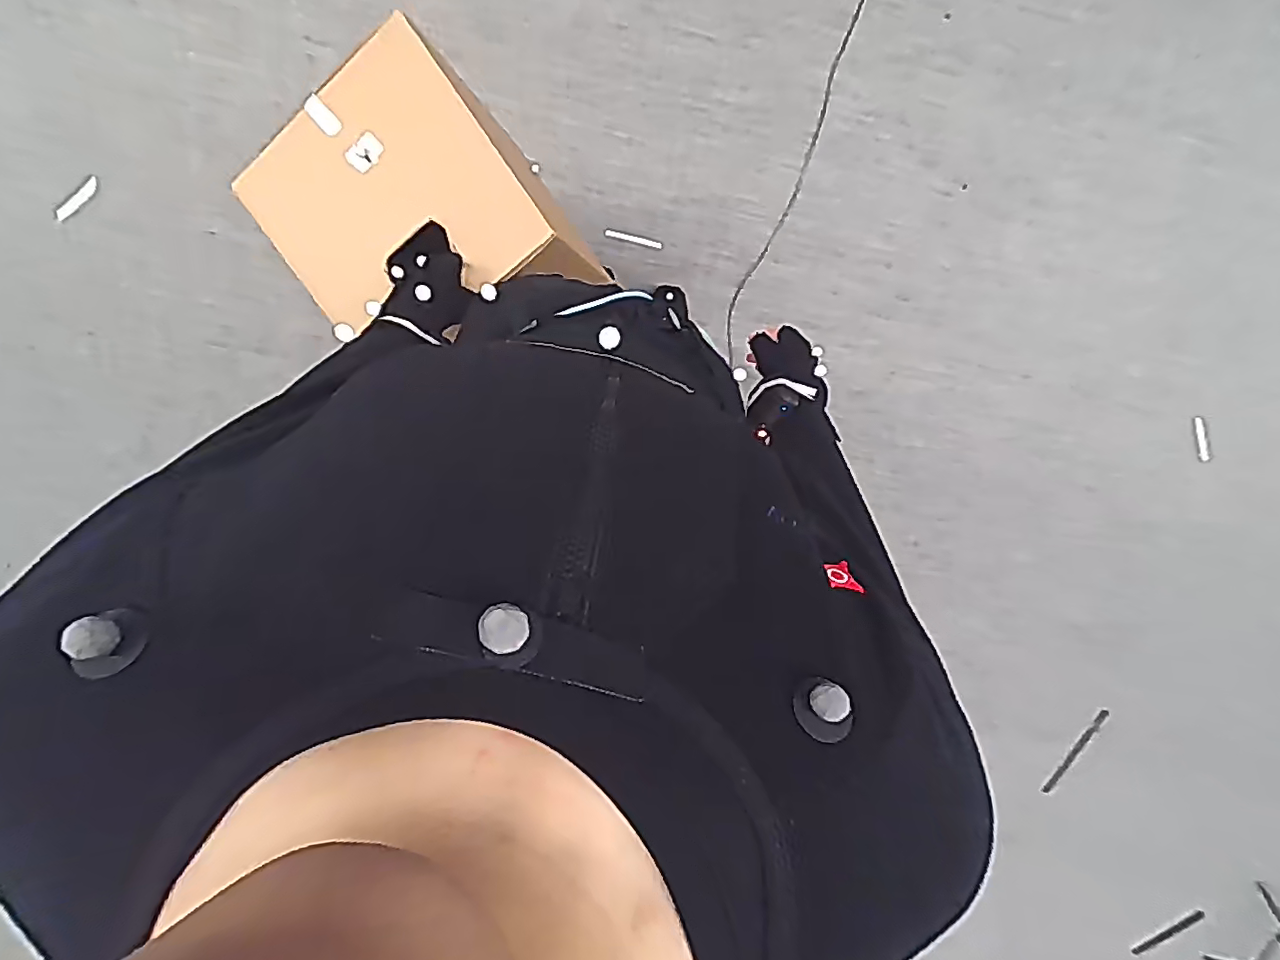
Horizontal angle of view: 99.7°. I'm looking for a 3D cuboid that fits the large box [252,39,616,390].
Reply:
[{"bbox_3d":[-0.283,-0.369,0.873,0.320,0.408,0.320,-34,96,14],"label":"large box"}]
